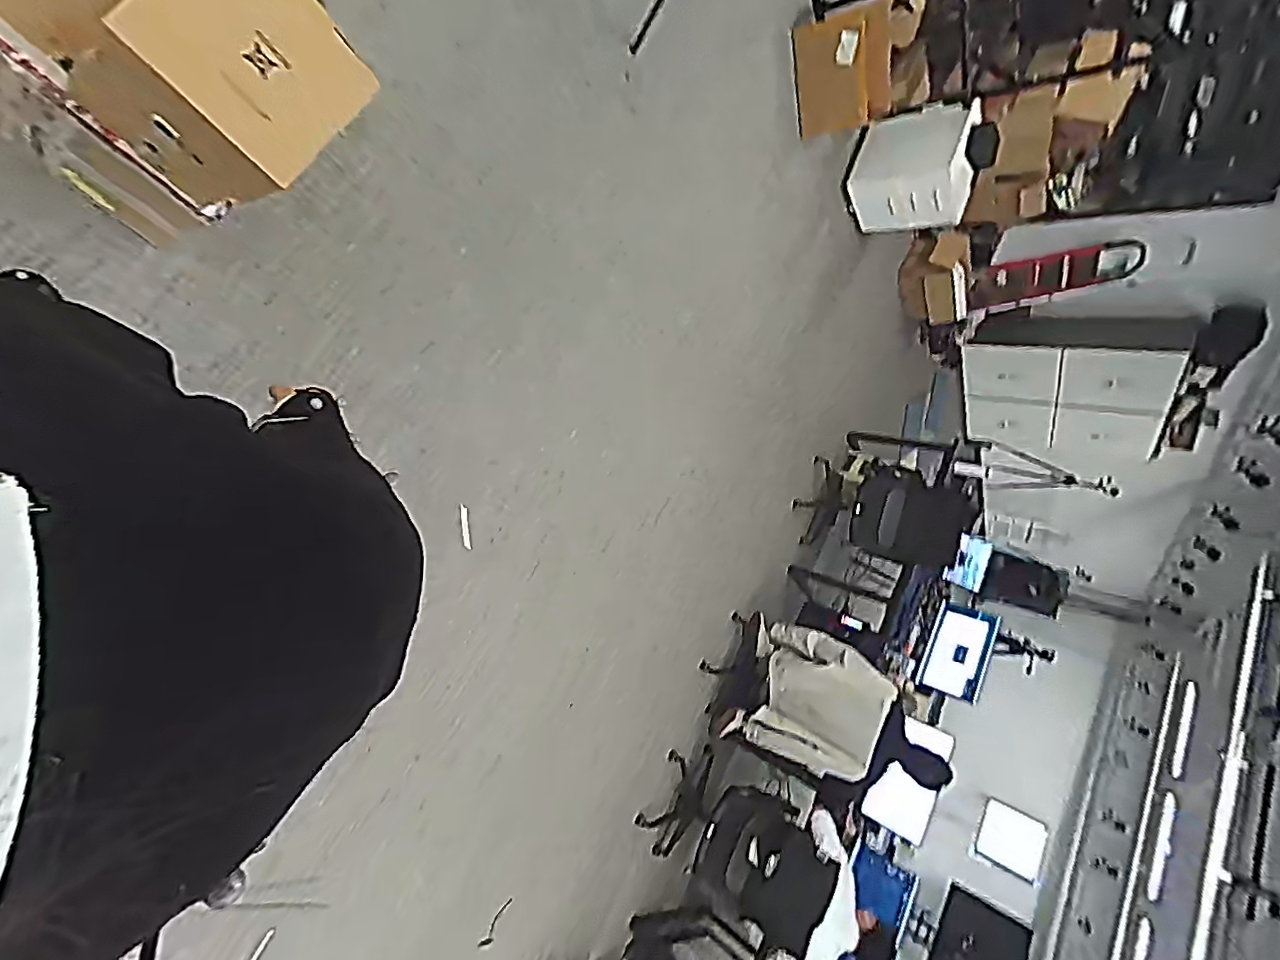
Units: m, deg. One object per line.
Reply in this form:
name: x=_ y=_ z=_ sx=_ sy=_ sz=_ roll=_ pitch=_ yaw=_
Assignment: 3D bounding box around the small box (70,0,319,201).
small box: x=-0.559 y=-0.483 z=0.684 sx=0.179 sy=0.176 sz=0.168 roll=-60 pitch=139 yaw=-15
